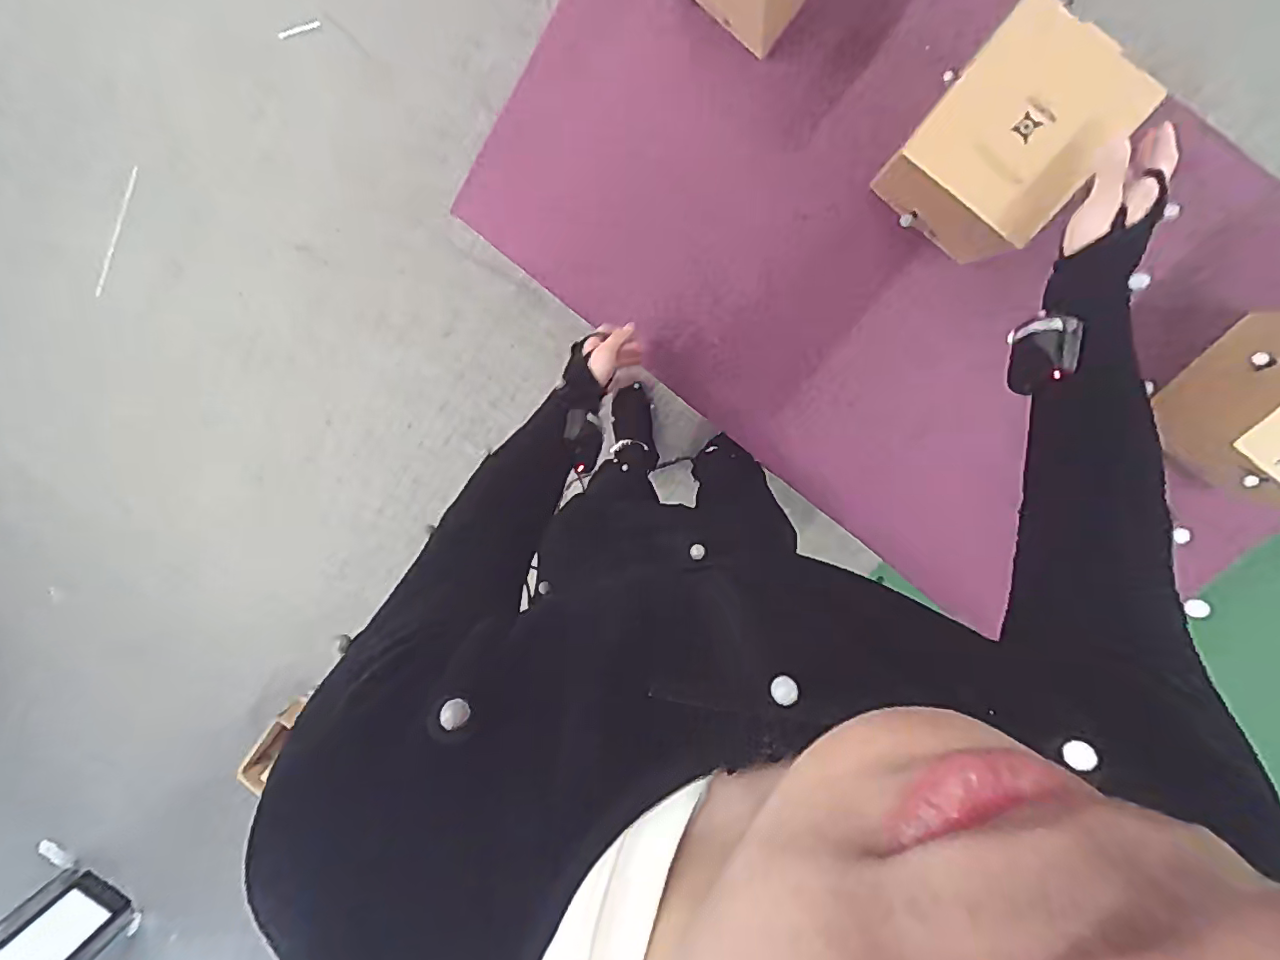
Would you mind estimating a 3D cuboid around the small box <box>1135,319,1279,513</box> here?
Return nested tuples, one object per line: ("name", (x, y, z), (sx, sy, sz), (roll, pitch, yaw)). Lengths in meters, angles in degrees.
("small box", (0.761, -0.075, 0.635), (0.168, 0.176, 0.179), (38, 108, -1))

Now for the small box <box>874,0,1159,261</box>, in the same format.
("small box", (0.400, -0.379, 0.617), (0.168, 0.176, 0.179), (39, 109, -1))

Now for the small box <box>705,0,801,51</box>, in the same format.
("small box", (0.134, -0.632, 0.590), (0.168, 0.176, 0.179), (40, 109, -3))
